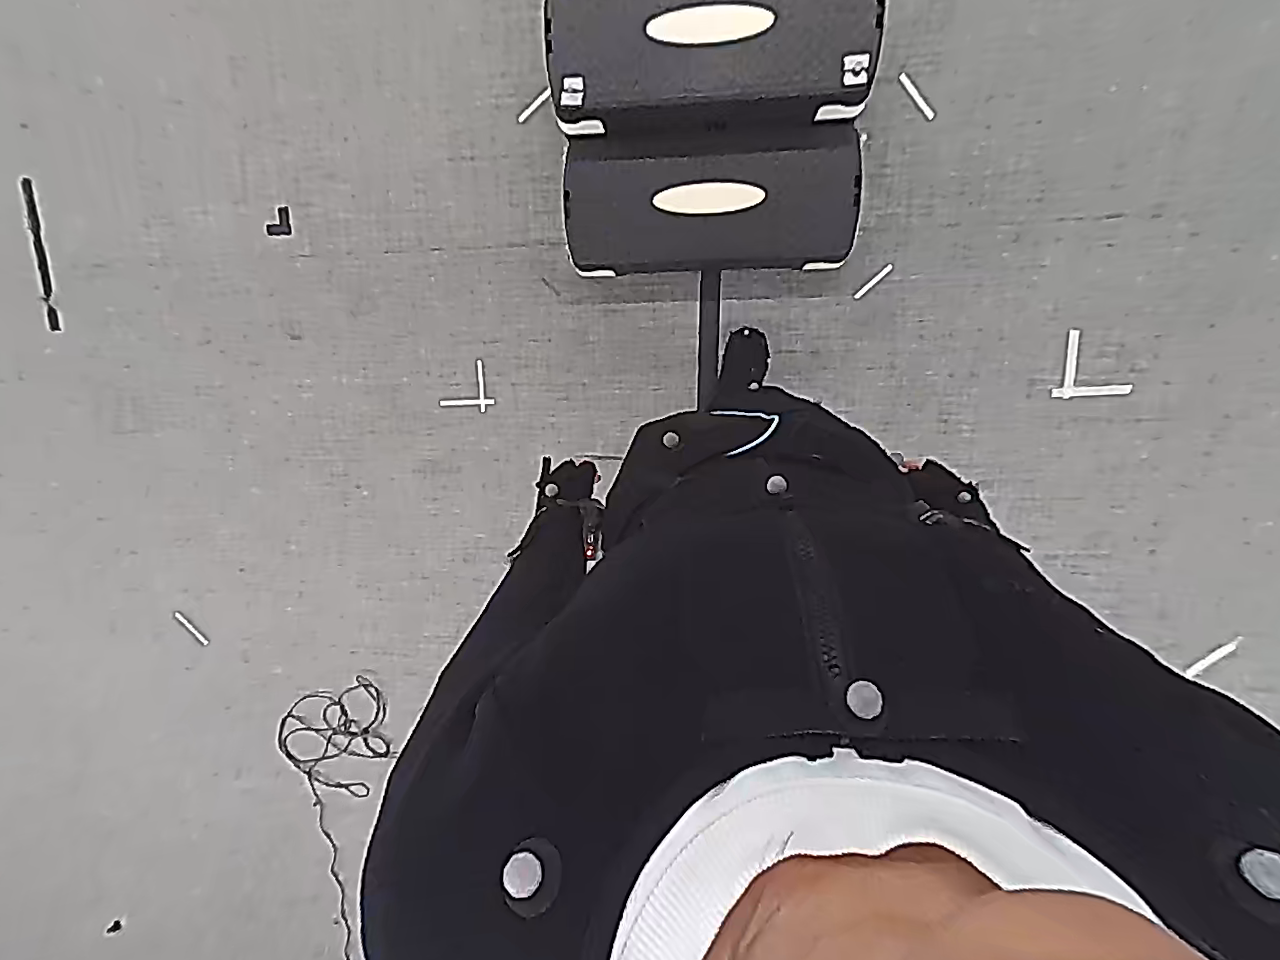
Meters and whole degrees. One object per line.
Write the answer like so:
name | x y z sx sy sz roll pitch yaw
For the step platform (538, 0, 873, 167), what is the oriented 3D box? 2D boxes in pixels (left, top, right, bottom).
step platform | 0.129 -0.879 1.159 0.684 0.204 0.286 -1 103 5
